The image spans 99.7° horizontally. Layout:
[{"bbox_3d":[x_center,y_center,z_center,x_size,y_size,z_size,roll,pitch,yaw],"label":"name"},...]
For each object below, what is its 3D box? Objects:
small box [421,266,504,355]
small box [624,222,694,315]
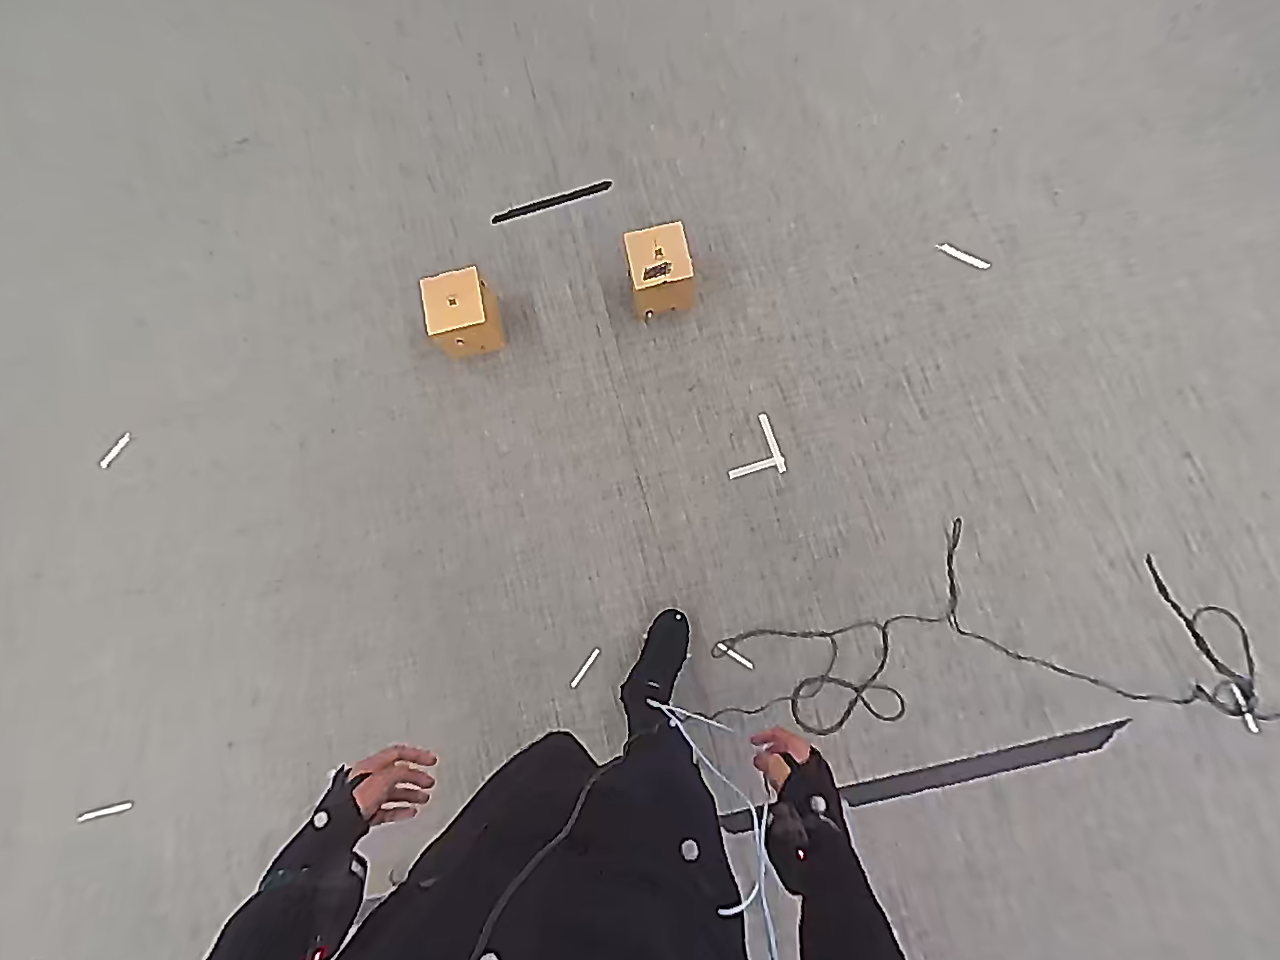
[{"bbox_3d":[-0.504,-0.477,1.559,0.168,0.176,0.179,-13,78,2],"label":"small box"},{"bbox_3d":[0.058,-0.589,1.535,0.168,0.176,0.179,-11,78,1],"label":"small box"}]
